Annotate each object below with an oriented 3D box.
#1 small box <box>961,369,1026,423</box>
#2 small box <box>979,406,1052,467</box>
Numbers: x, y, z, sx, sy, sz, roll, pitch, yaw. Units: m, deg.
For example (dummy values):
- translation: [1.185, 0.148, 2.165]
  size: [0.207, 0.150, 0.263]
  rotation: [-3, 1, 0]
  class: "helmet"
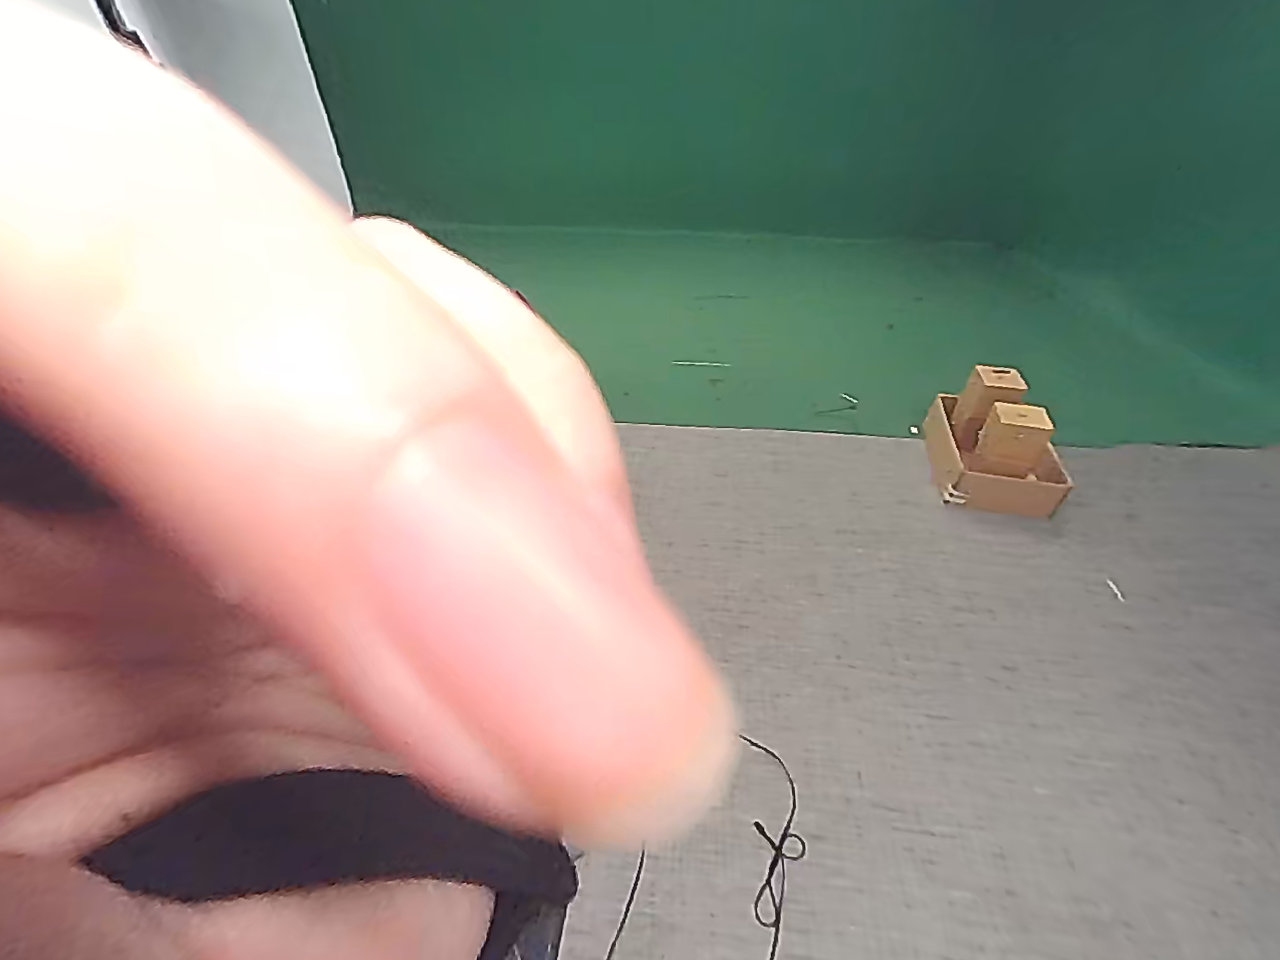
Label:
- translation: [1.533, -0.362, 2.359]
  size: [0.168, 0.176, 0.179]
  rotation: [9, 42, 9]
  class: "small box"
- translation: [1.475, -0.169, 2.136]
  size: [0.179, 0.176, 0.168]
  rotation: [10, 40, 15]
  class: "small box"
